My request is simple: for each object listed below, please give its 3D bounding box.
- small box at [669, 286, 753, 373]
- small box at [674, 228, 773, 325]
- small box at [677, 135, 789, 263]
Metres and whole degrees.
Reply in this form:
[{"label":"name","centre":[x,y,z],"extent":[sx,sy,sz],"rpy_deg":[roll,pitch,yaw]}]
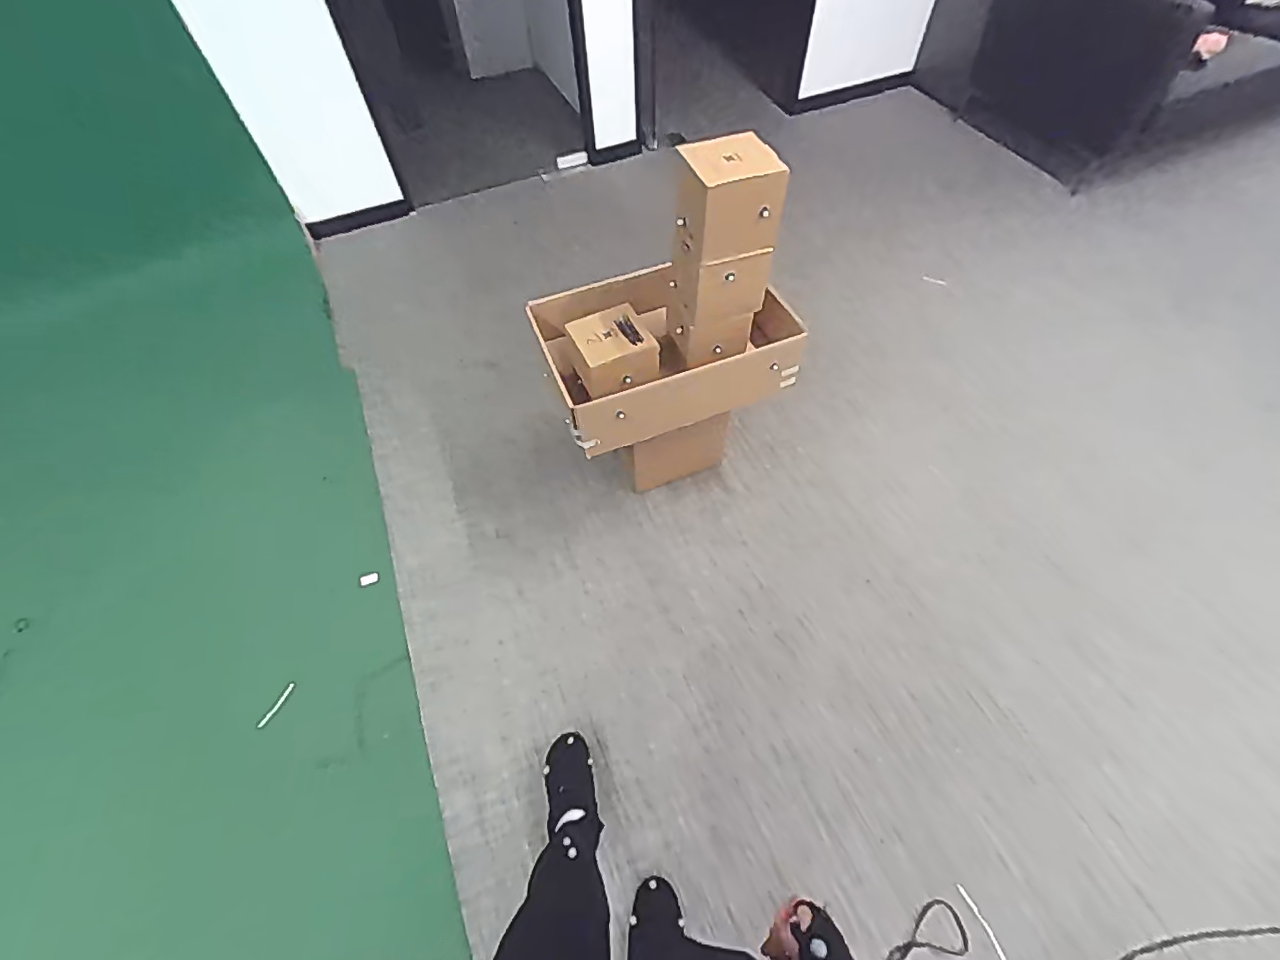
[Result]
[{"label":"small box","centre":[0.178,-0.399,1.407],"extent":[0.168,0.176,0.179],"rpy_deg":[-15,58,-8]},{"label":"small box","centre":[0.187,-0.491,1.271],"extent":[0.179,0.176,0.168],"rpy_deg":[-16,58,-9]},{"label":"small box","centre":[0.185,-0.589,1.141],"extent":[0.179,0.176,0.168],"rpy_deg":[-17,57,-9]}]
